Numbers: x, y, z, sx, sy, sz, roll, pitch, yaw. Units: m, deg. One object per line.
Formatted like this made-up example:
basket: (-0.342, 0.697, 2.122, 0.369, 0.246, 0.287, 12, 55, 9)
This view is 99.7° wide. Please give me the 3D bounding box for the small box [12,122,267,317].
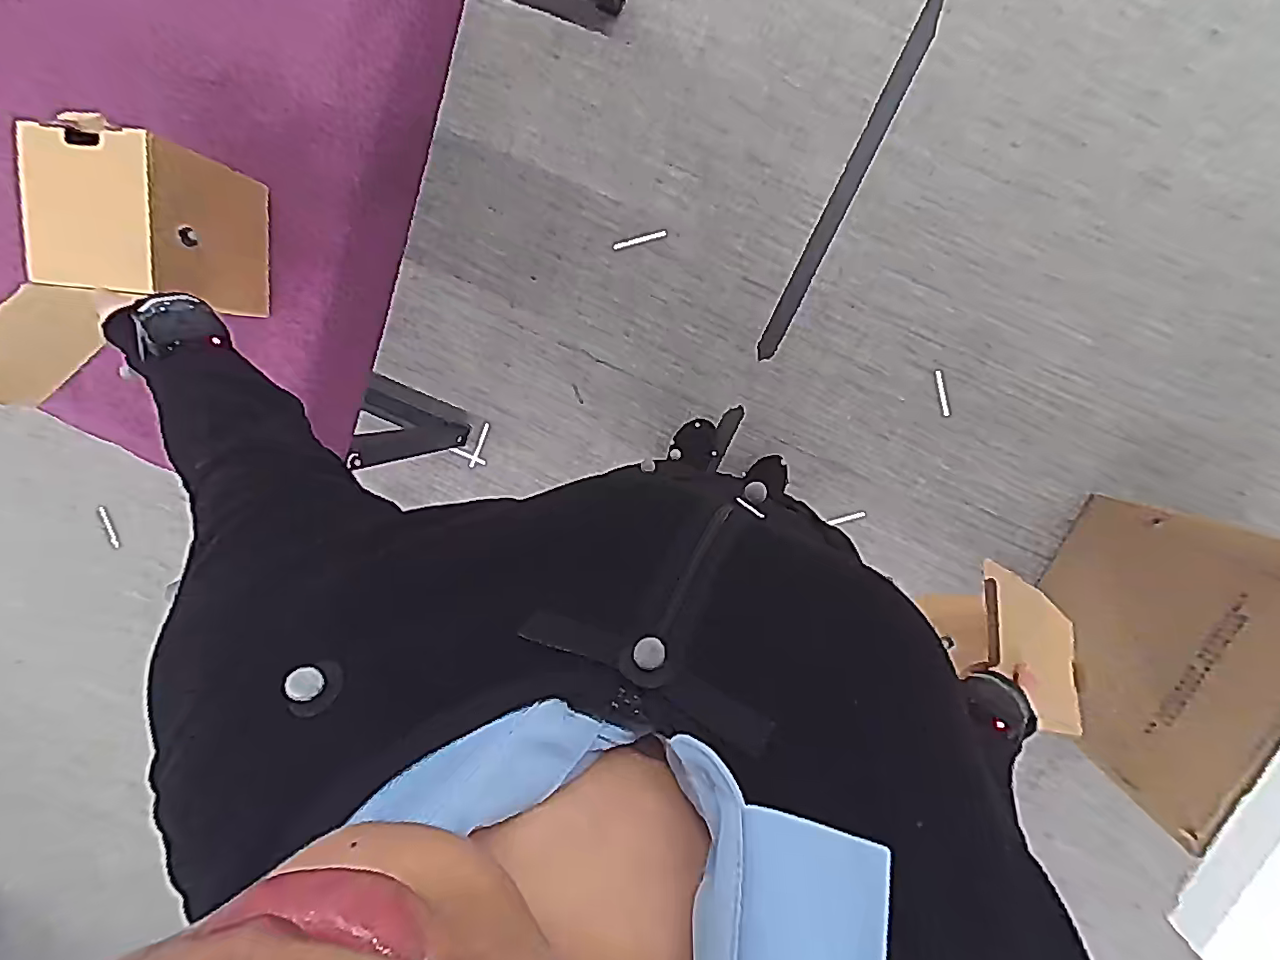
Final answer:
small box: (-0.603, -0.307, 0.673, 0.168, 0.176, 0.179, 7, 99, 5)
